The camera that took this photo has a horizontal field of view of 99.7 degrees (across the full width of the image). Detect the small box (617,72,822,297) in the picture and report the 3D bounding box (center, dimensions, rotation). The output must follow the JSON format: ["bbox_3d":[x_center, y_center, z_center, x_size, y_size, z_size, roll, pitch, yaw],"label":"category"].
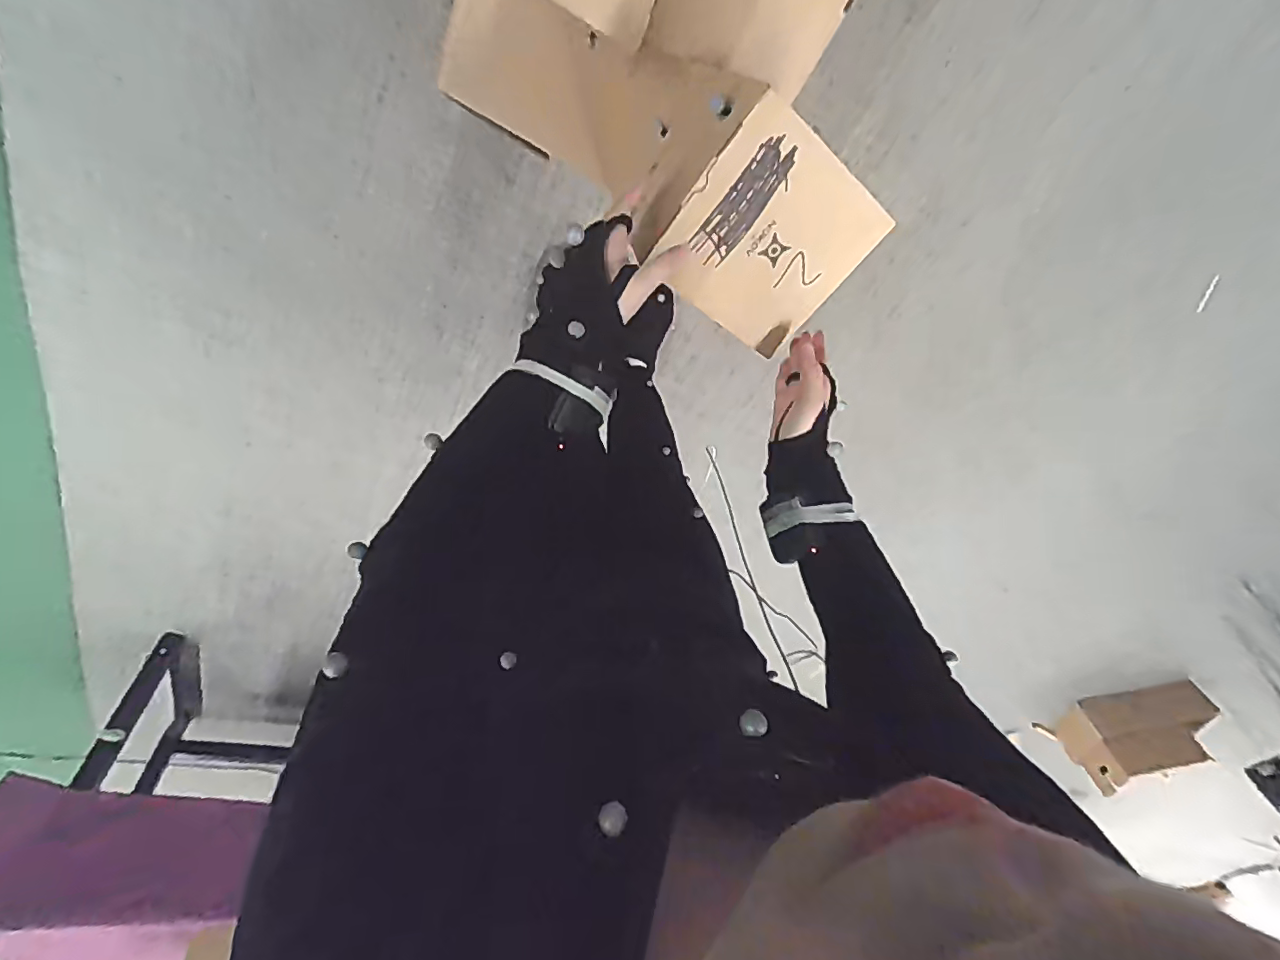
[{"bbox_3d":[0.083,-0.370,0.674,0.168,0.176,0.179,22,122,-26],"label":"small box"}]

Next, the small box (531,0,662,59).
[{"bbox_3d":[-0.052,-0.543,0.514,0.179,0.176,0.168,18,123,-21],"label":"small box"}]

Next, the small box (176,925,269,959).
[{"bbox_3d":[-1.019,1.188,1.293,0.179,0.176,0.168,18,125,-22],"label":"small box"}]
